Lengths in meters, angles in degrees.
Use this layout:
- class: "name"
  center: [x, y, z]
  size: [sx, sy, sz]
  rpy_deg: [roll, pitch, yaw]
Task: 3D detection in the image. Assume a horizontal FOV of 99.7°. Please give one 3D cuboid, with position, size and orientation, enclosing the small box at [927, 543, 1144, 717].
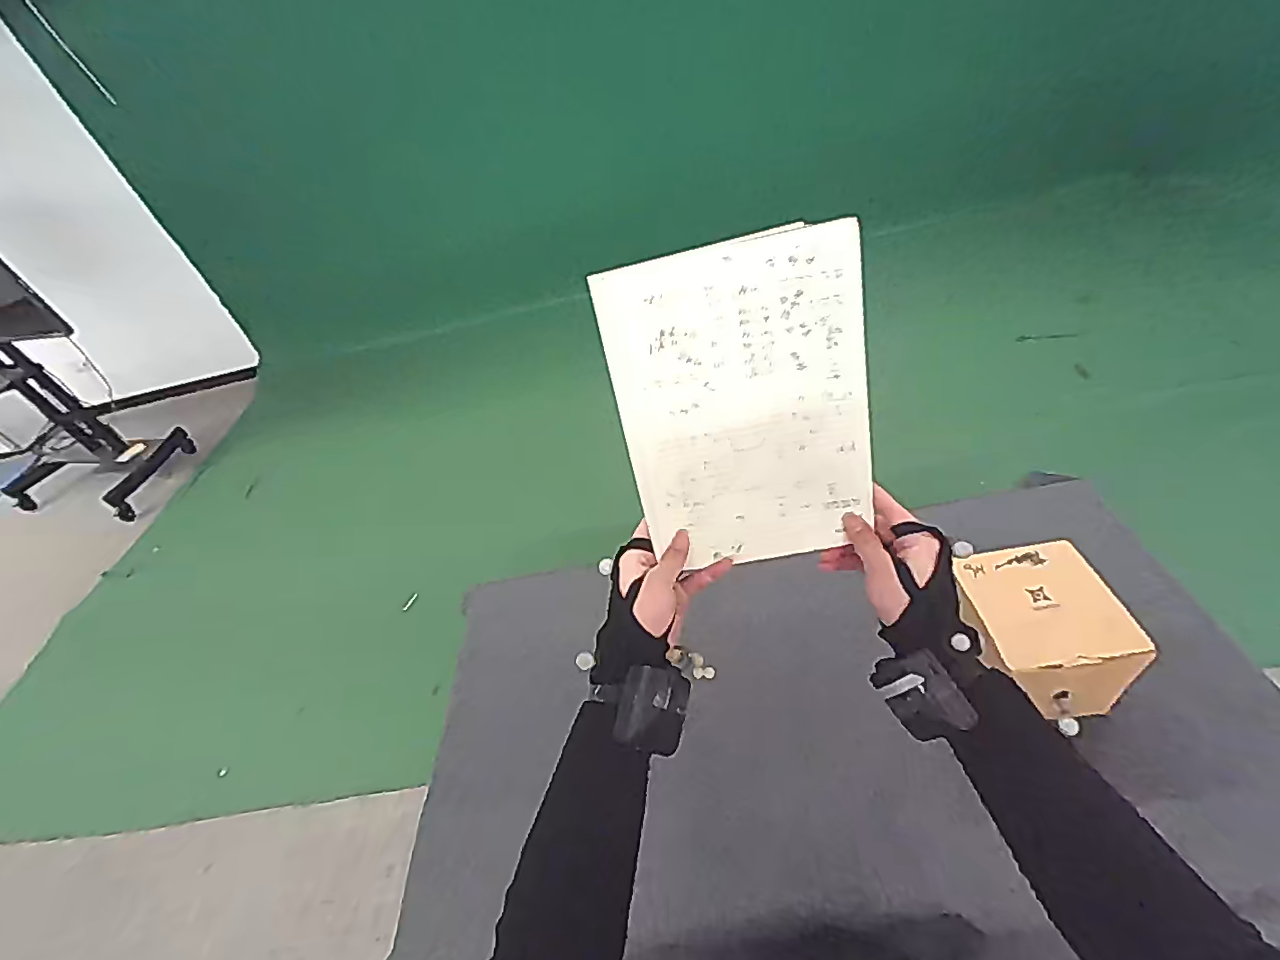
- class: "small box"
  center: [0.531, 0.218, 0.761]
  size: [0.168, 0.176, 0.179]
  rpy_deg: [-10, 44, 6]
